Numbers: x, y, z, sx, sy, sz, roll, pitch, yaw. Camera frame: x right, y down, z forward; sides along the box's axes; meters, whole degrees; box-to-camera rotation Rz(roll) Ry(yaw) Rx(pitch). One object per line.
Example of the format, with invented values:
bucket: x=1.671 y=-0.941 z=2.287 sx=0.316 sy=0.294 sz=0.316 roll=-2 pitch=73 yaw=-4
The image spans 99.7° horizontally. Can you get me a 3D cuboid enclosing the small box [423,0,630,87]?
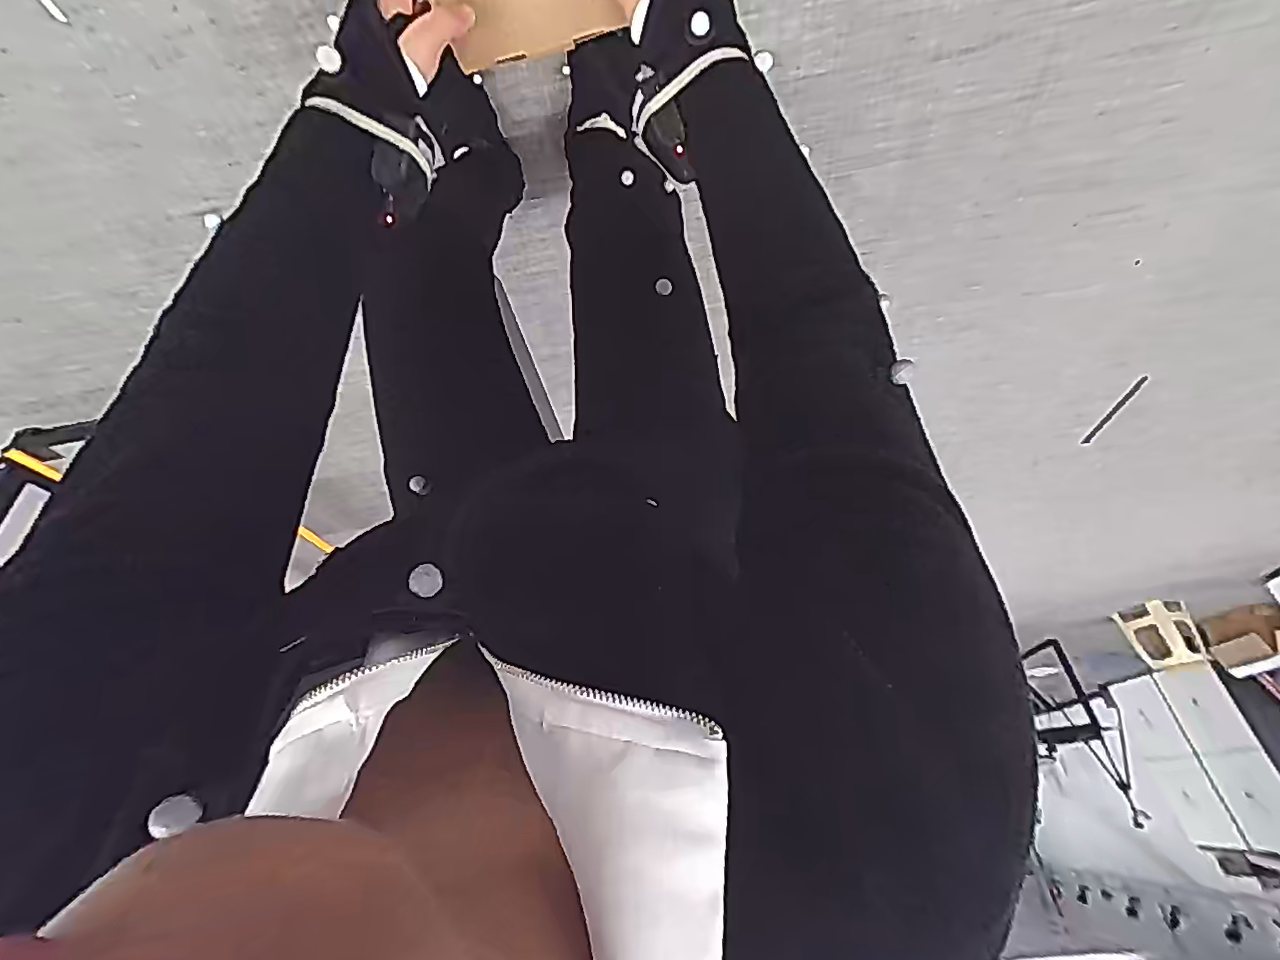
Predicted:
small box: x=-0.108 y=-0.482 z=0.451 sx=0.168 sy=0.176 sz=0.179 roll=-10 pitch=150 yaw=6

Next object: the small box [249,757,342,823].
small box: x=-1.093 y=0.994 z=1.734 sx=0.168 sy=0.176 sz=0.179 roll=-9 pitch=146 yaw=4
